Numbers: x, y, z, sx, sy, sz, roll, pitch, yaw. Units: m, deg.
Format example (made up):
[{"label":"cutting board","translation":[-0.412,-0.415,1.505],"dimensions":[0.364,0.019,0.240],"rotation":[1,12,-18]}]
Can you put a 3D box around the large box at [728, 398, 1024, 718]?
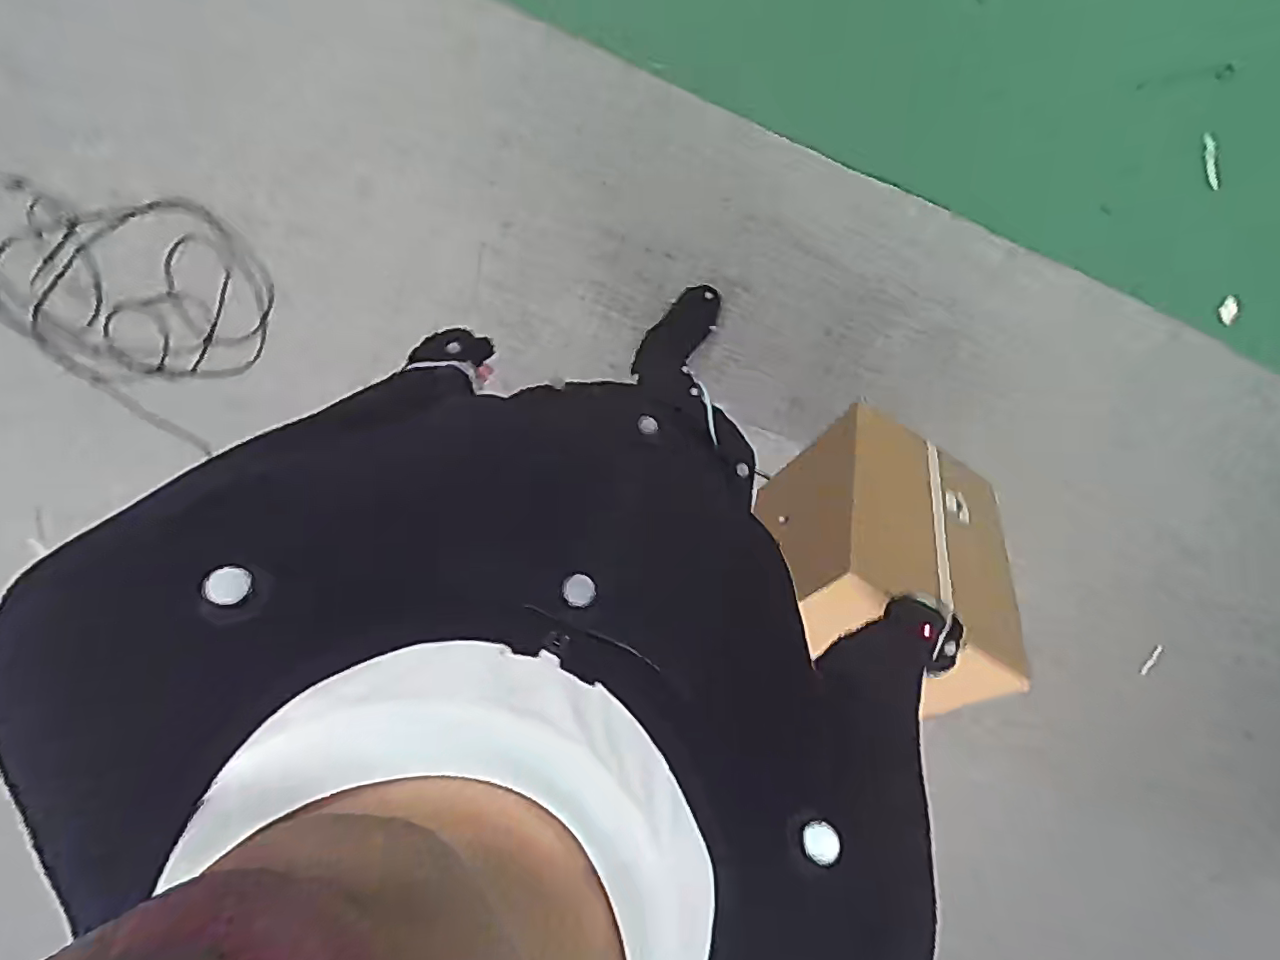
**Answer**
[{"label":"large box","translation":[0.392,0.139,0.968],"dimensions":[0.320,0.408,0.320],"rotation":[32,135,-7]}]
